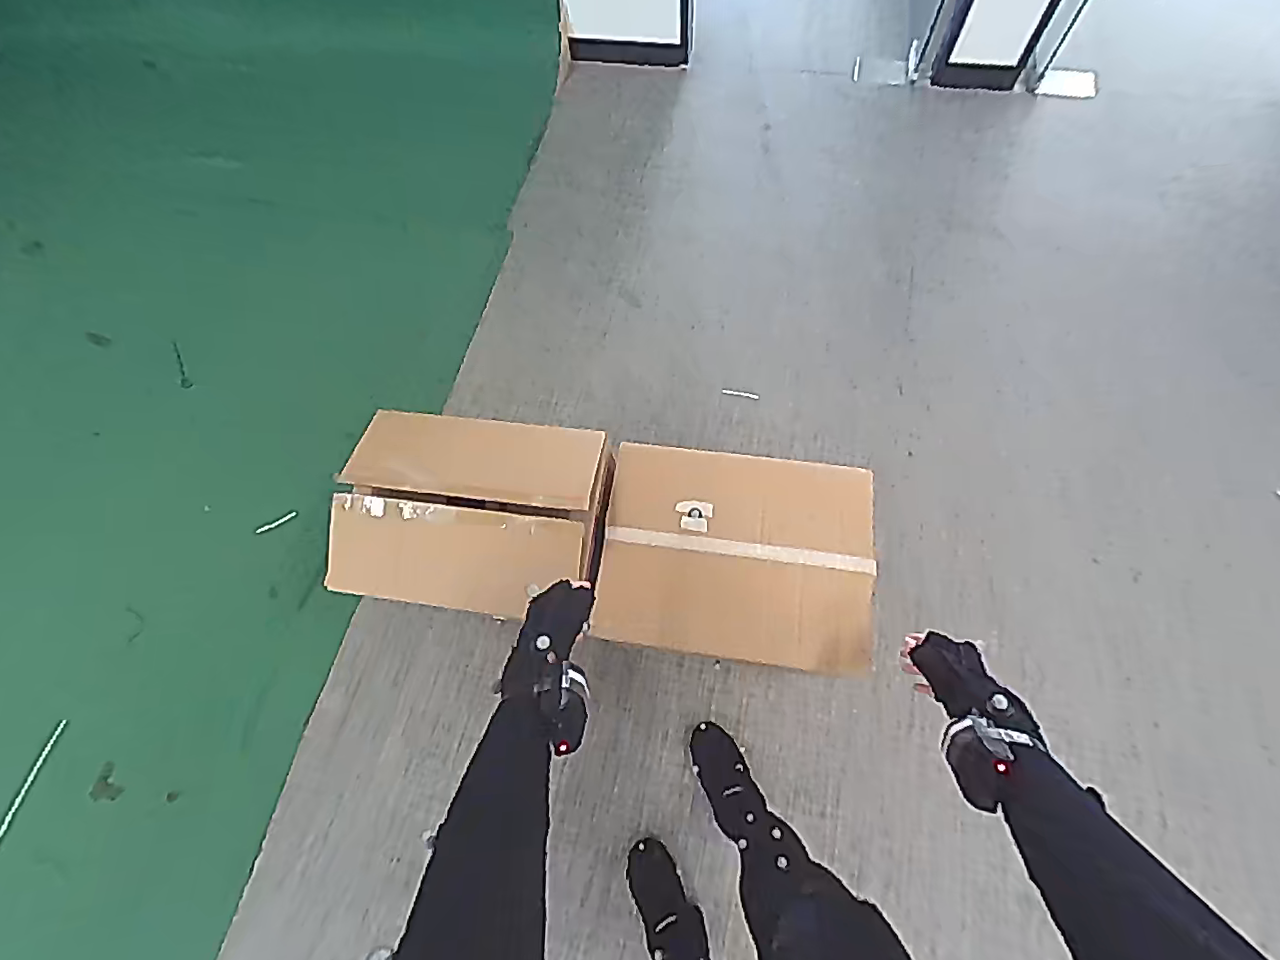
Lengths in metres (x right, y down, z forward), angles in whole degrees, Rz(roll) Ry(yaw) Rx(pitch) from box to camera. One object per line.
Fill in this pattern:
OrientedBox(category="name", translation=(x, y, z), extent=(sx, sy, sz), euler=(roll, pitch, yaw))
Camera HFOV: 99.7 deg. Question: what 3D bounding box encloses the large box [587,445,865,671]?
OrientedBox(category="large box", translation=(0.153, 0.150, 0.960), extent=(0.408, 0.320, 0.320), euler=(6, 71, 8))
